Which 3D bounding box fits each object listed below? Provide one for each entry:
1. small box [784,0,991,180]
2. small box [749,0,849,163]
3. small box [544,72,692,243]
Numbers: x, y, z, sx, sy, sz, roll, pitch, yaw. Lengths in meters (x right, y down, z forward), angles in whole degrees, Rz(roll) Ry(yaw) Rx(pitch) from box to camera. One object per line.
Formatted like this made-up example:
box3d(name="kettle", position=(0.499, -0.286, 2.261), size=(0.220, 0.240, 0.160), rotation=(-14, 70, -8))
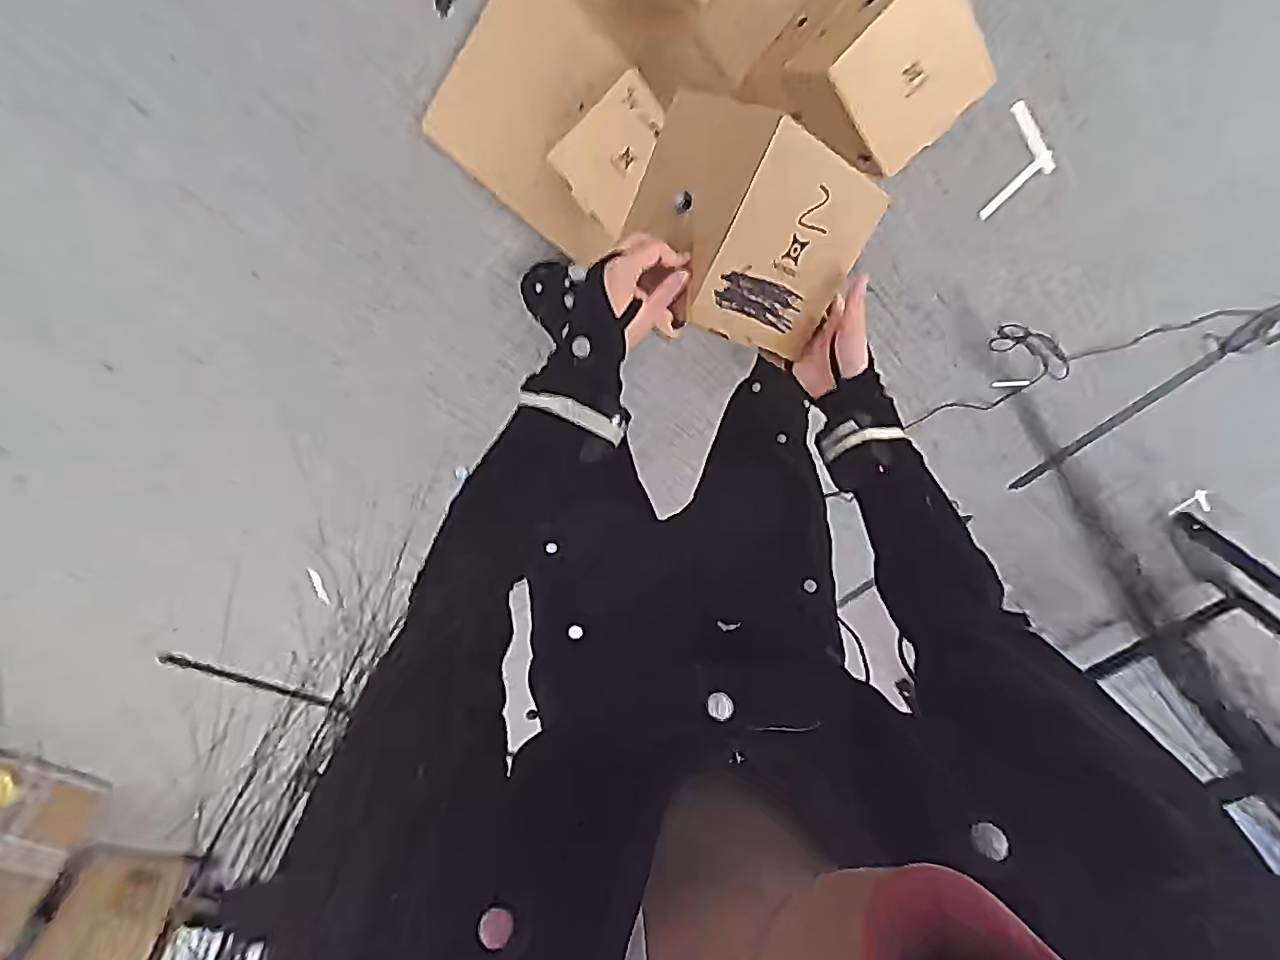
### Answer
box3d(name="small box", position=(0.331, -0.560, 0.752), size=(0.168, 0.176, 0.179), rotation=(-41, 124, 20))
box3d(name="small box", position=(0.307, -0.658, 0.880), size=(0.179, 0.176, 0.168), rotation=(32, 116, -30))
box3d(name="small box", position=(-0.040, -0.539, 0.905), size=(0.179, 0.176, 0.168), rotation=(-36, 125, 18))
